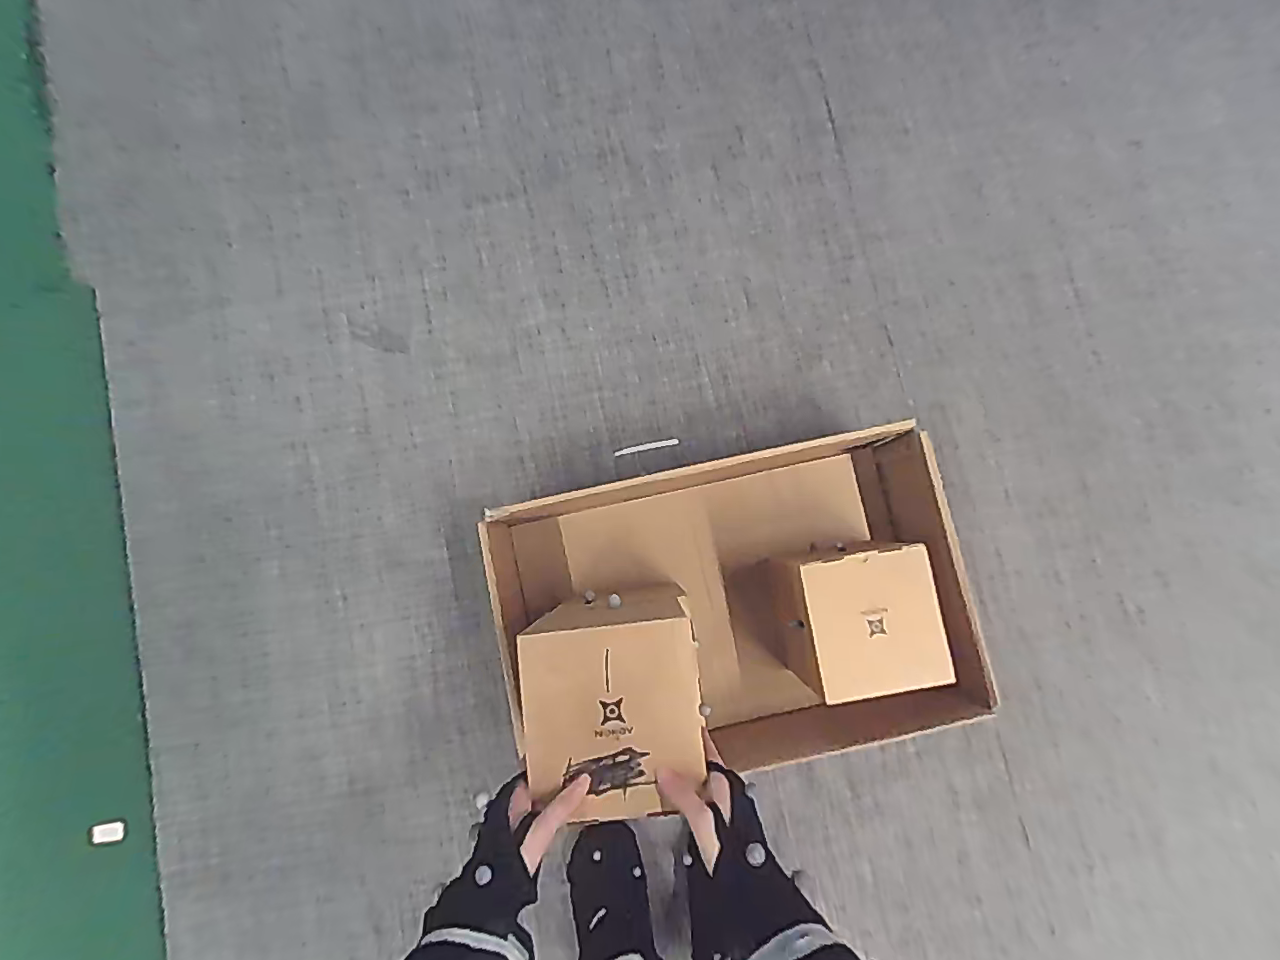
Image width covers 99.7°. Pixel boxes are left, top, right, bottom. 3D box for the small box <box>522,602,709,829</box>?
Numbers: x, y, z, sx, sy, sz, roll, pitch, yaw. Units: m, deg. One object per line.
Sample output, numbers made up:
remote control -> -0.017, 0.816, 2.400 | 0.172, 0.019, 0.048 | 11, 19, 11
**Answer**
small box -> -0.023, 0.235, 0.583 | 0.168, 0.176, 0.179 | -6, 83, 0
